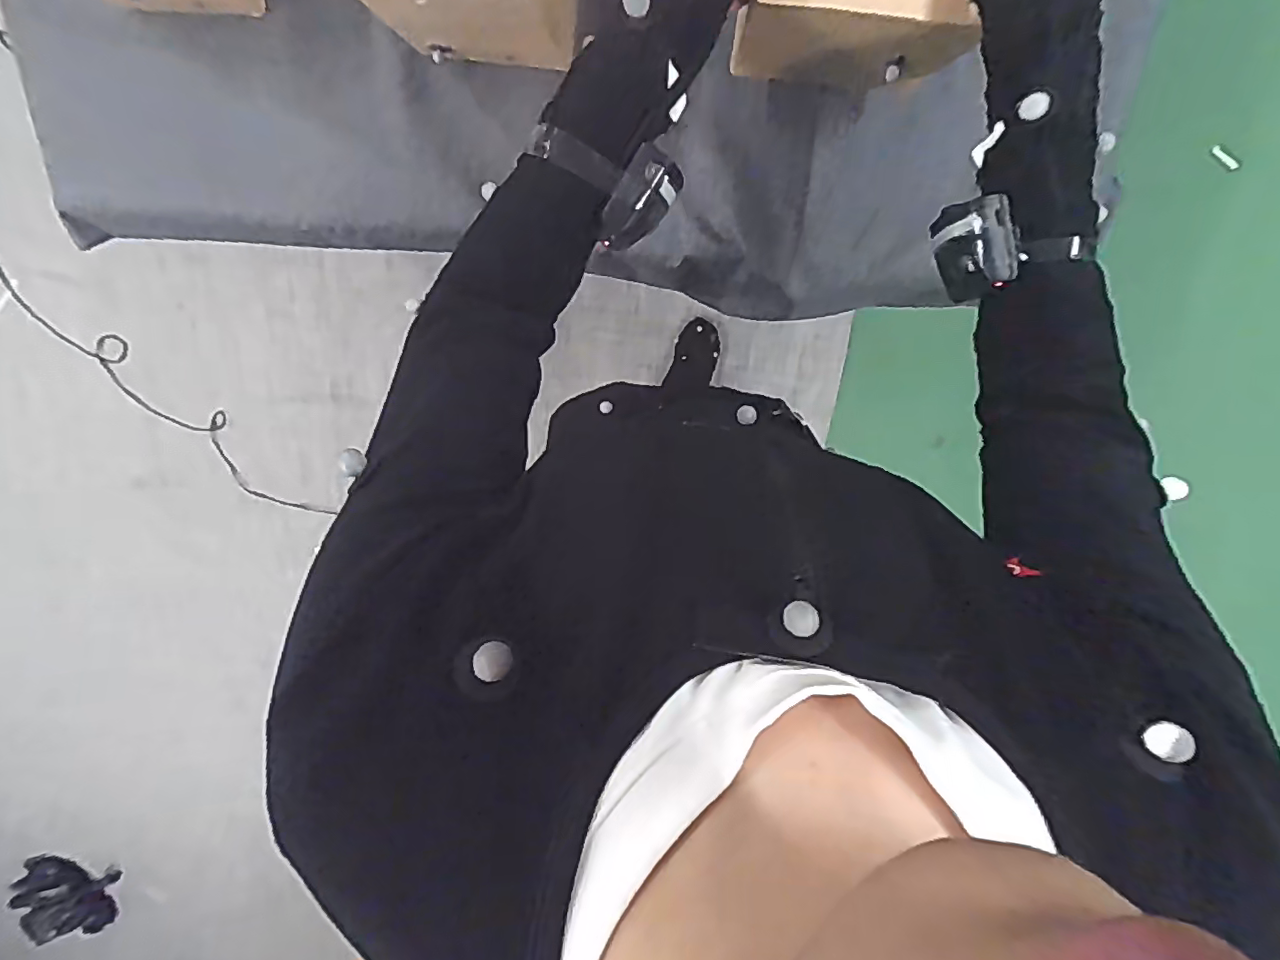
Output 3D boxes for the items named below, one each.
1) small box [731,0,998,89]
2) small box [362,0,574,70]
[{"bbox_3d":[0.176,-0.433,0.429,0.179,0.176,0.168,6,112,2],"label":"small box"},{"bbox_3d":[-0.151,-0.501,0.481,0.168,0.176,0.179,8,109,2],"label":"small box"}]
